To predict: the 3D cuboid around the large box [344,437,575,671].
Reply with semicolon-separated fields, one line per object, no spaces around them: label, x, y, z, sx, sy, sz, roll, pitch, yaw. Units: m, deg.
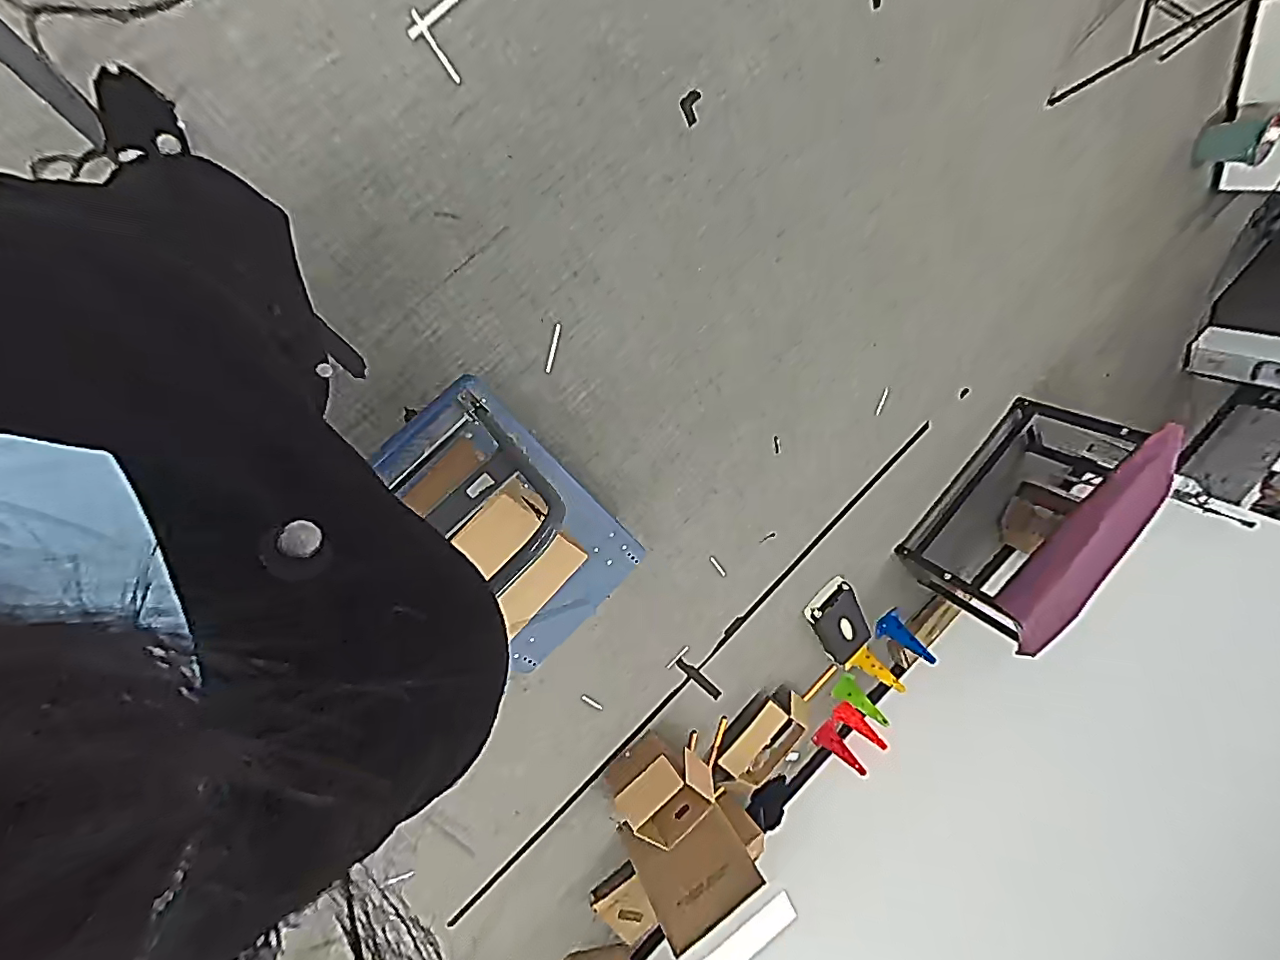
large box;-0.441;0.173;1.318;0.408;0.320;0.320;-47;130;-2
